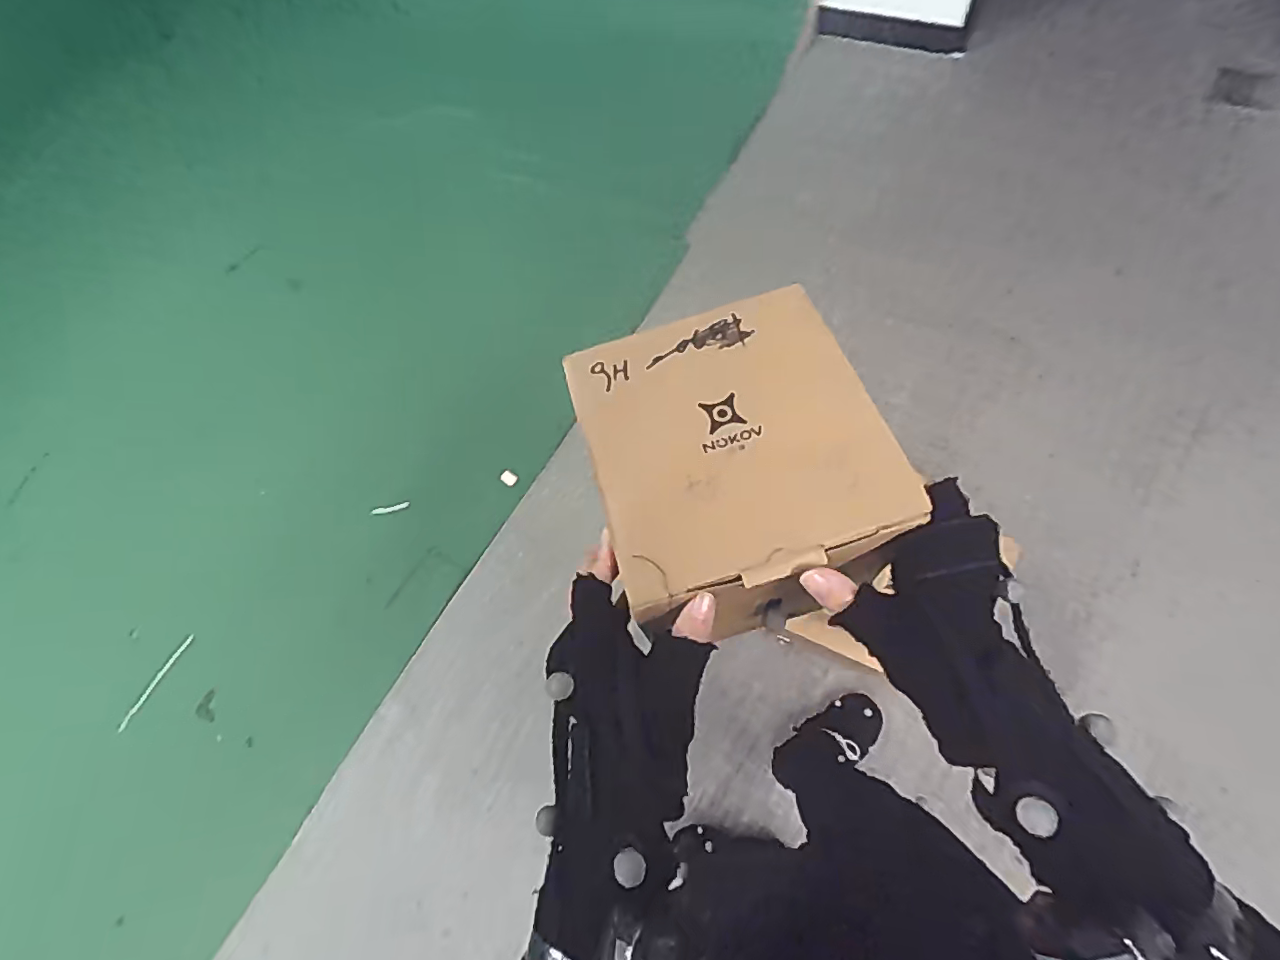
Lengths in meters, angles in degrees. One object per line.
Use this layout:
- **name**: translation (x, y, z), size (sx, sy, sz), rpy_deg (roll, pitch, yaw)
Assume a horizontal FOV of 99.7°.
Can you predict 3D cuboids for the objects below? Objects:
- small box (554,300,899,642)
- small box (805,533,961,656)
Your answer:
- **small box**: translation (0.053, 0.010, 0.398), size (0.168, 0.176, 0.179), rpy_deg (-18, 64, -1)
- **small box**: translation (0.391, 0.180, 0.905), size (0.179, 0.176, 0.168), rpy_deg (24, 80, 18)
